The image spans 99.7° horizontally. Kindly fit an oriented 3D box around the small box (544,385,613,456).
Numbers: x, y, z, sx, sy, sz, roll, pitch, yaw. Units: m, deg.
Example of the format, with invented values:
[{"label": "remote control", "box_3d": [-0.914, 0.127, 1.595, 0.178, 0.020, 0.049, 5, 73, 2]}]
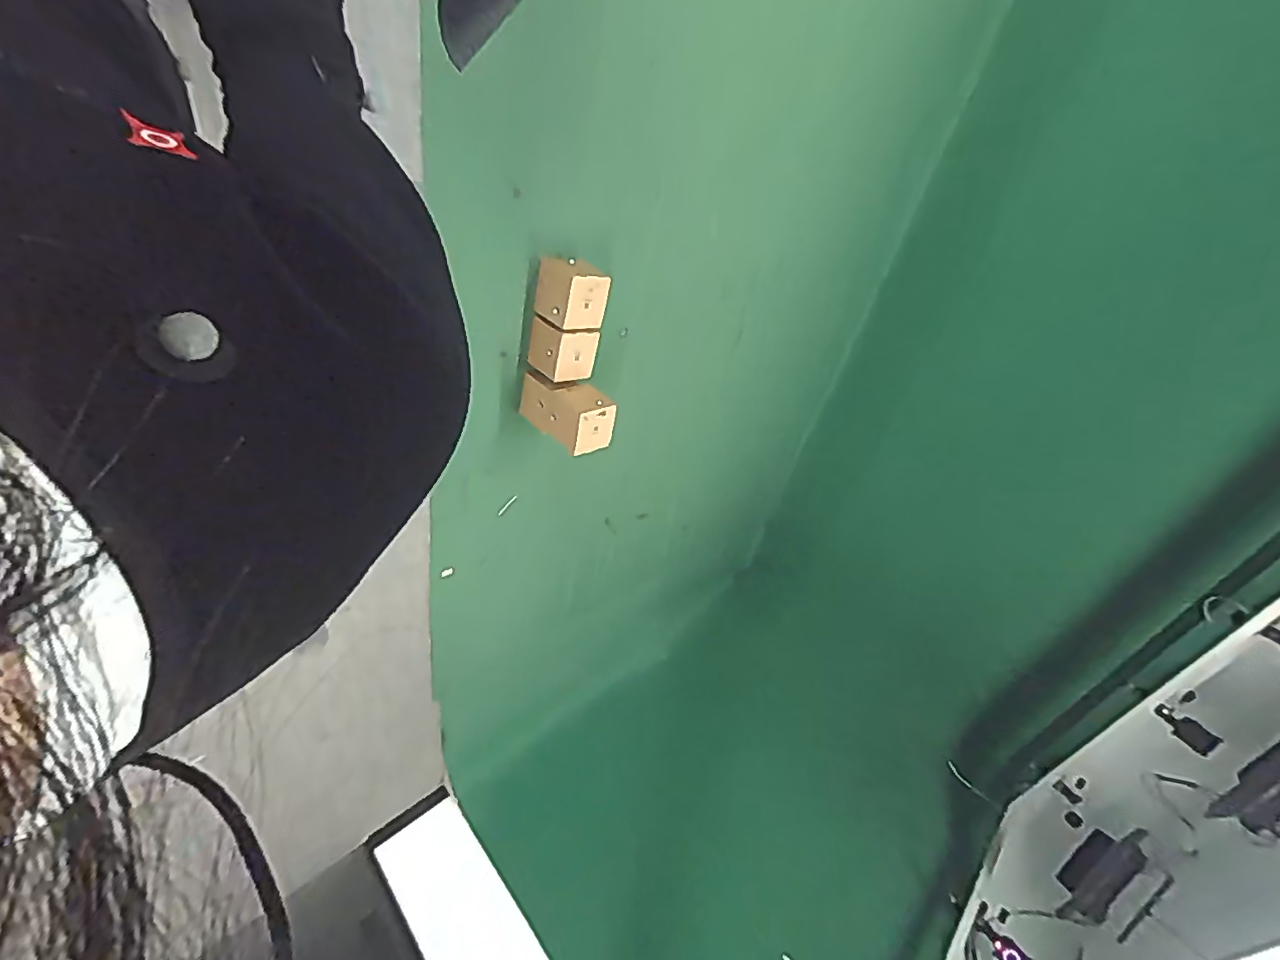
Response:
[{"label": "small box", "box_3d": [-0.224, -0.214, 1.919, 0.168, 0.176, 0.179, -21, 139, -41]}]
